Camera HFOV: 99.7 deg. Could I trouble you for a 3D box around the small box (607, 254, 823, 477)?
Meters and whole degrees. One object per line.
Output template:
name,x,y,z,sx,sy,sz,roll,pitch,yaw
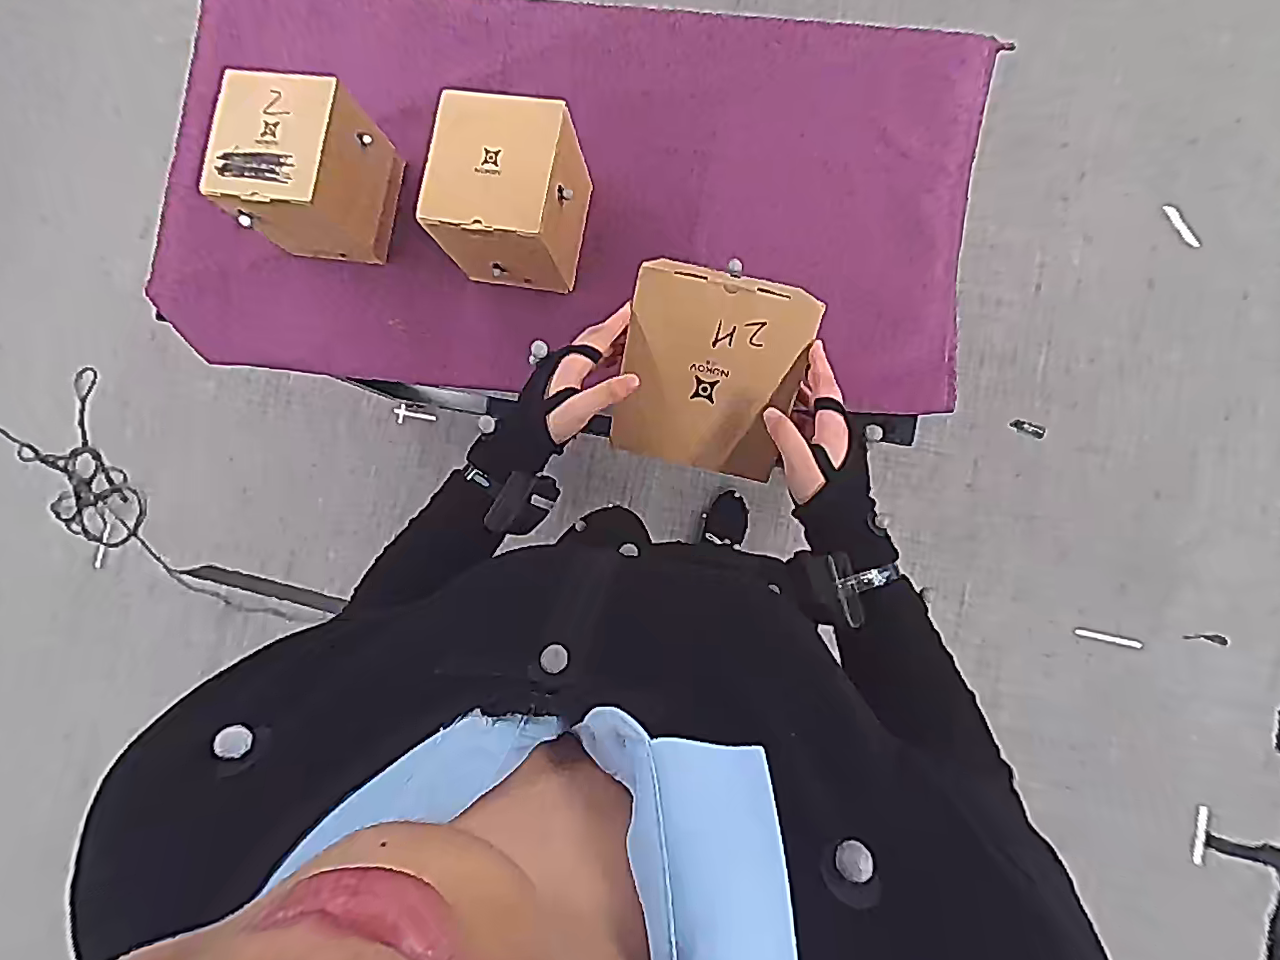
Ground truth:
small box,0.074,-0.129,0.570,0.168,0.176,0.179,14,114,3

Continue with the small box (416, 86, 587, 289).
small box,-0.177,-0.392,0.748,0.168,0.176,0.179,10,87,7
